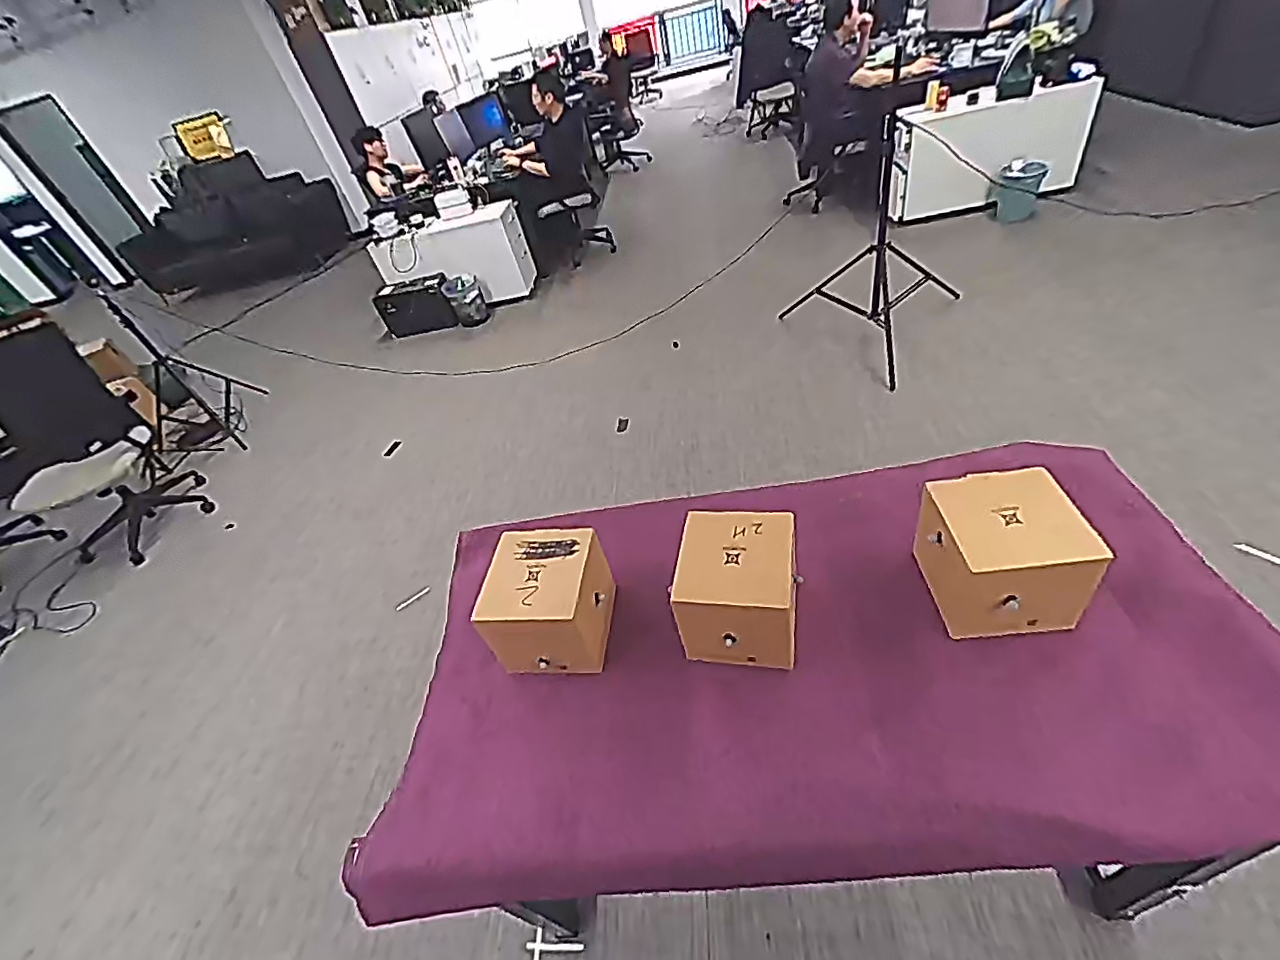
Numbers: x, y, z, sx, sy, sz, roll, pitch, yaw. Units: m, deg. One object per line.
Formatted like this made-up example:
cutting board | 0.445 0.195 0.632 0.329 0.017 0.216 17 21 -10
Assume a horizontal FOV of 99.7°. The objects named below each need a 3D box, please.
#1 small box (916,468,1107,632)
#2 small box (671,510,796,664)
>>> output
small box | 0.526 0.110 0.798 0.168 0.176 0.179 -8 41 10
small box | 0.157 0.168 0.850 0.168 0.176 0.179 1 44 17
